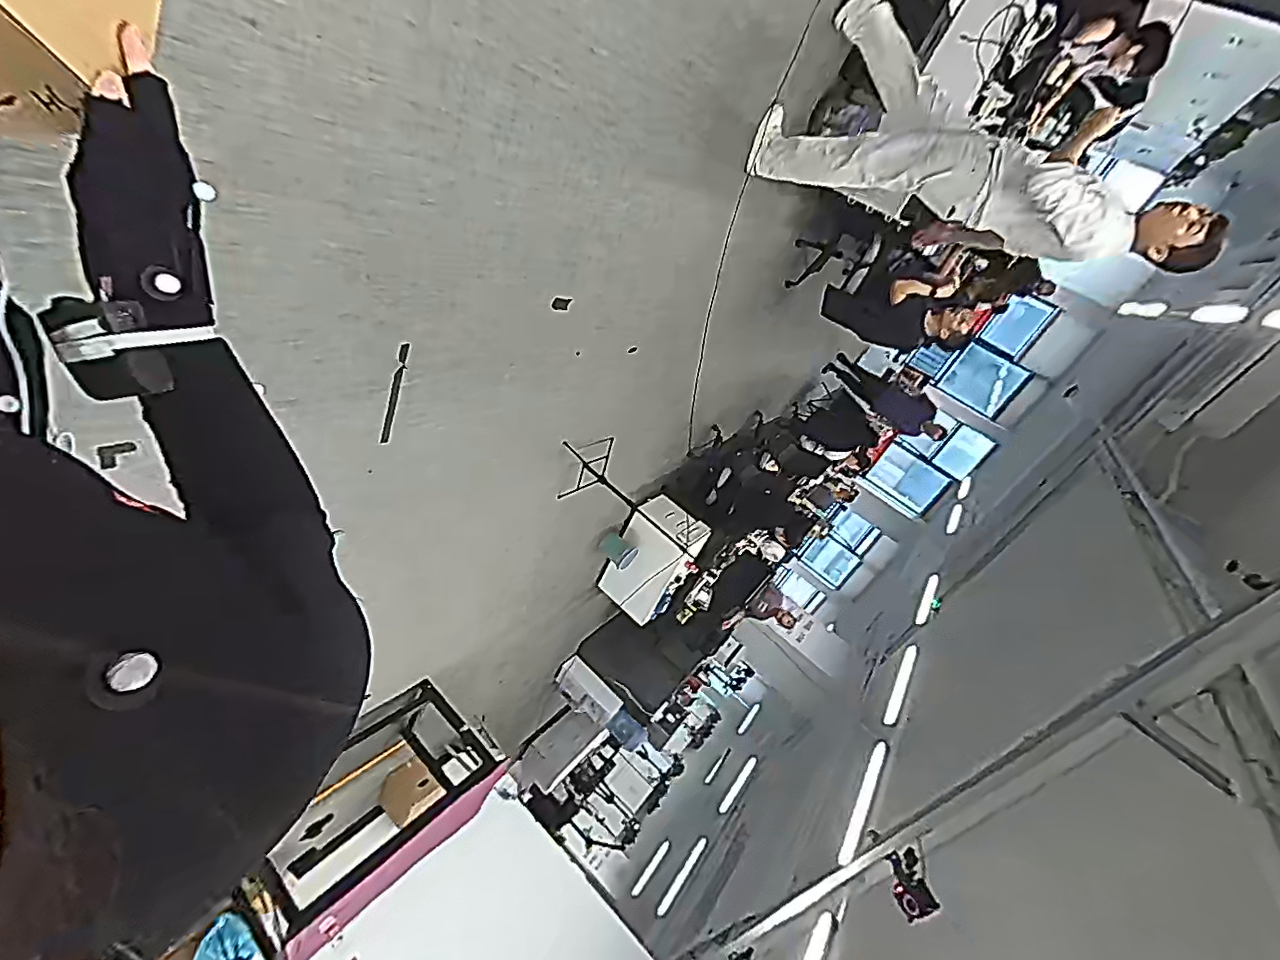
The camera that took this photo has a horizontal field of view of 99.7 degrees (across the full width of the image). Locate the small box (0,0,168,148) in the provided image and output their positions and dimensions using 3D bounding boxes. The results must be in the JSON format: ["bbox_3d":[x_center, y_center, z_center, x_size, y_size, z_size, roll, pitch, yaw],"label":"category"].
[{"bbox_3d":[-0.419,-0.324,0.301,0.179,0.168,0.176,100,-12,-79],"label":"small box"}]
